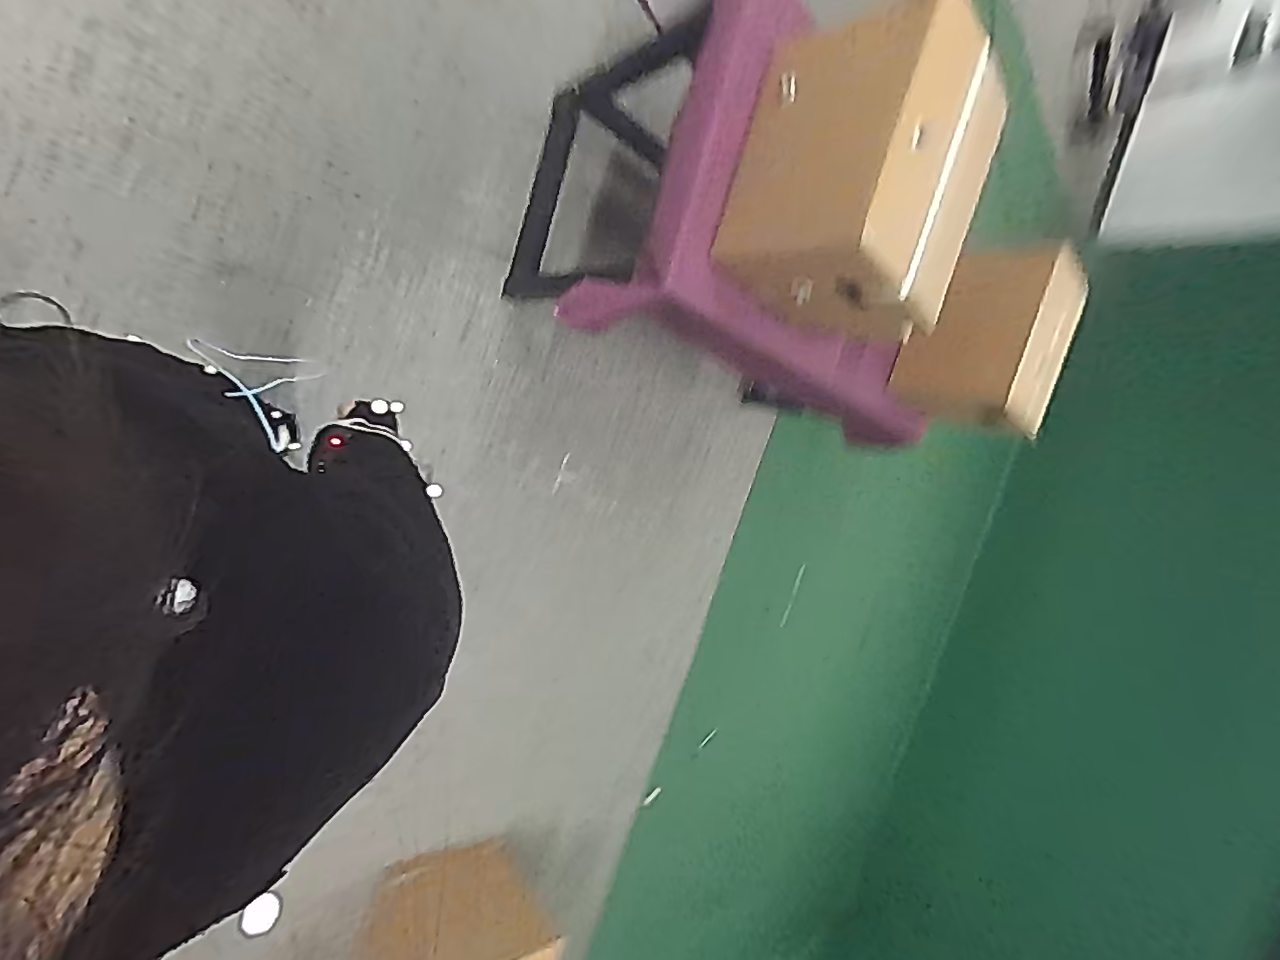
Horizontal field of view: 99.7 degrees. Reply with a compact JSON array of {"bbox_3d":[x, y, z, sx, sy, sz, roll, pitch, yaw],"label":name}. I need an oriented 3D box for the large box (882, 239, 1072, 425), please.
[{"bbox_3d":[0.949,-0.409,1.530,0.320,0.320,0.408,16,93,-42],"label":"large box"}]
